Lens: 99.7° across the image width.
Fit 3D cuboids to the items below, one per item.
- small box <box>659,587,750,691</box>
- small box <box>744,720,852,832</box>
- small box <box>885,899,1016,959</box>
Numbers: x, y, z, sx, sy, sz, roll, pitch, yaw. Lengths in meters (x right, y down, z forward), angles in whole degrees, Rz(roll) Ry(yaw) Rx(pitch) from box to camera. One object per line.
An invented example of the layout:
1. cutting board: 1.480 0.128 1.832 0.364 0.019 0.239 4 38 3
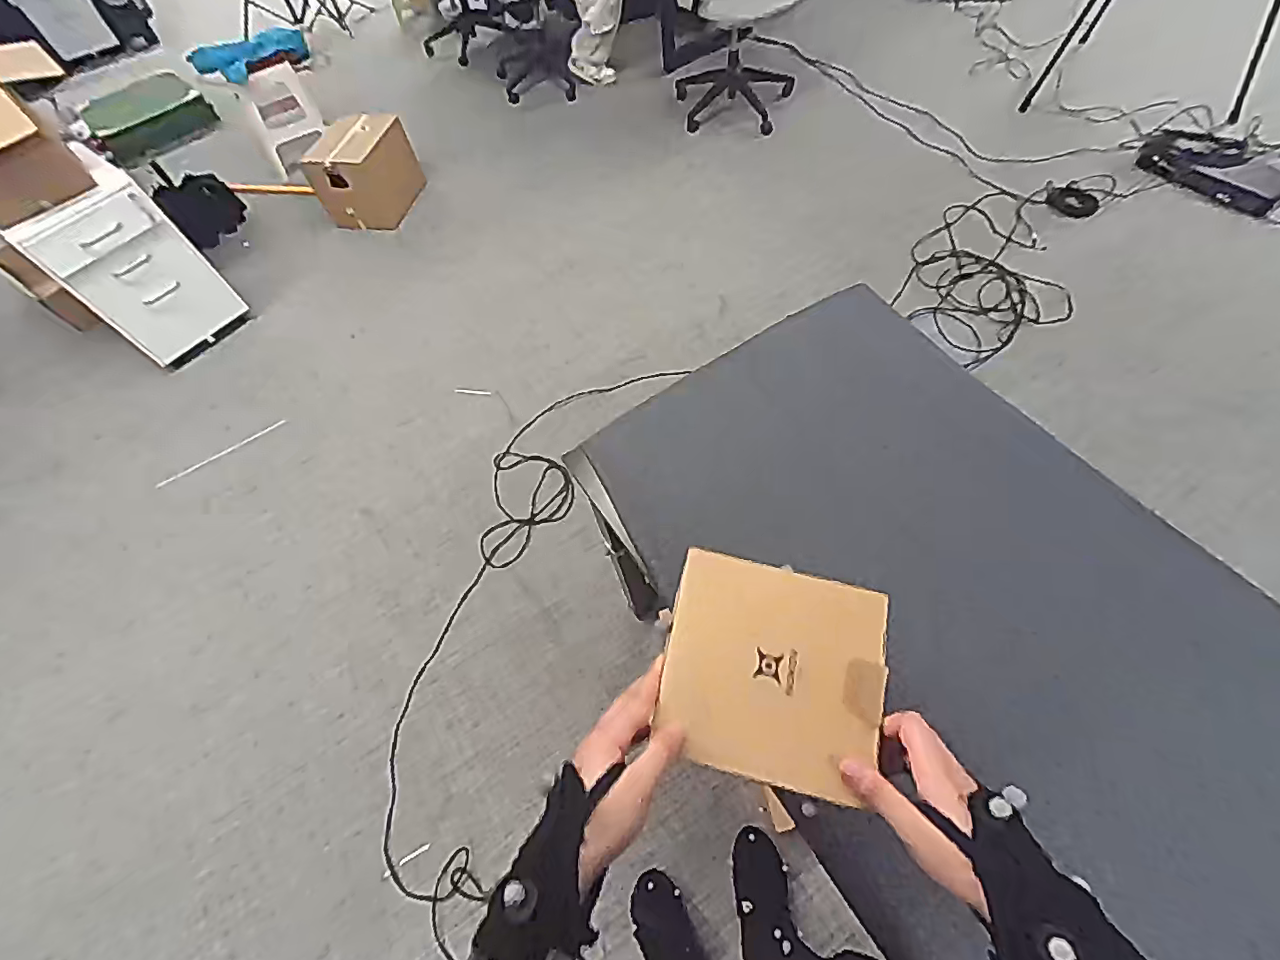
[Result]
1. small box: 0.157 0.398 1.345 0.168 0.176 0.179 -21 58 -5
2. small box: 0.333 0.643 1.173 0.168 0.176 0.179 -14 57 -2
3. small box: 0.583 0.901 0.983 0.168 0.176 0.179 -27 60 -9
